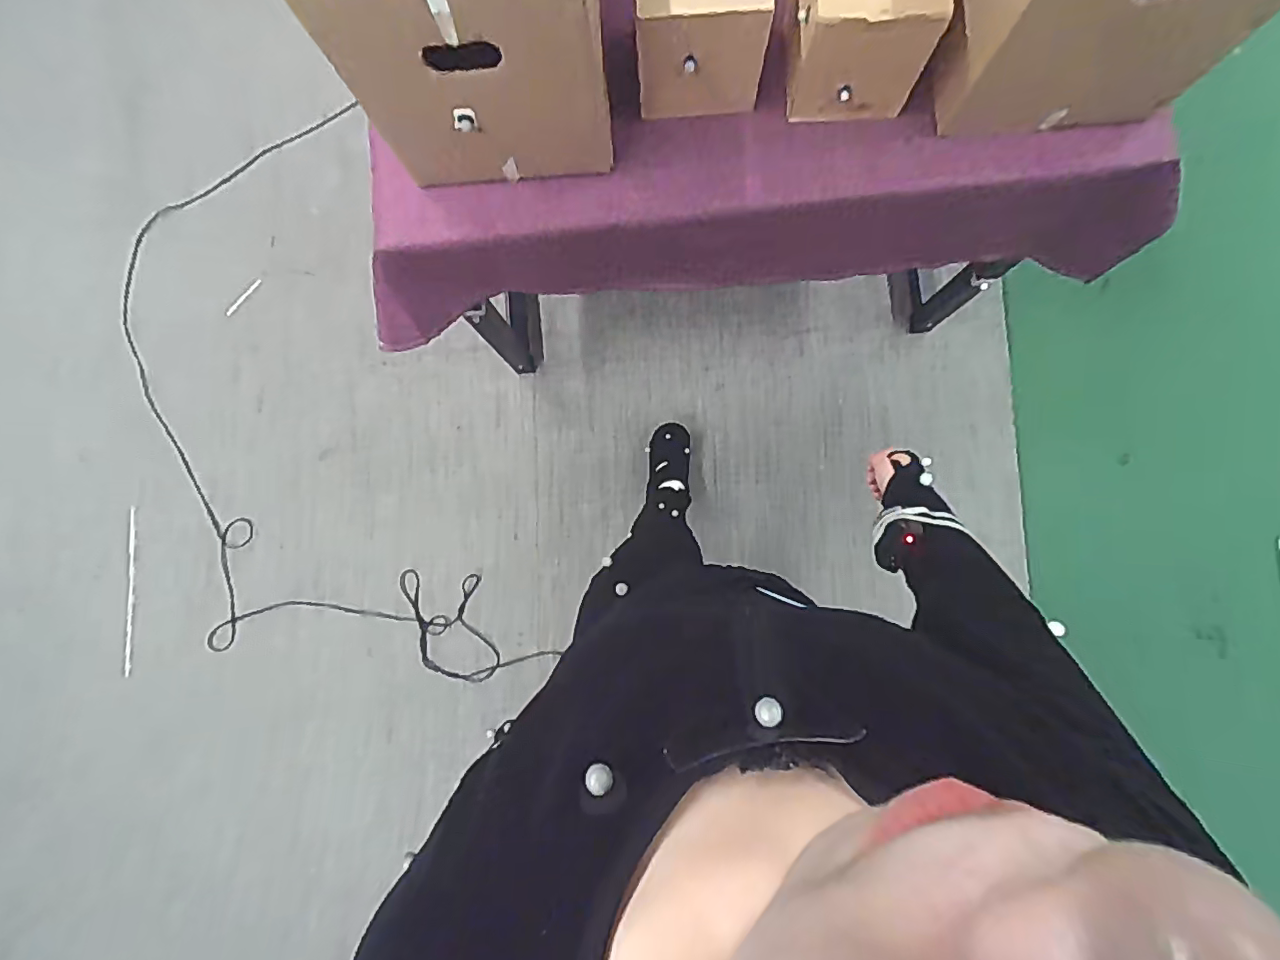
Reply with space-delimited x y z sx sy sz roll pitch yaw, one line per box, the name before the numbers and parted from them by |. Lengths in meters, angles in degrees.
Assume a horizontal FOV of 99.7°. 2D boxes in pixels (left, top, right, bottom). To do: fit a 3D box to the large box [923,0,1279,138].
large box | 0.587 -0.734 0.687 0.320 0.320 0.408 -2 85 2
